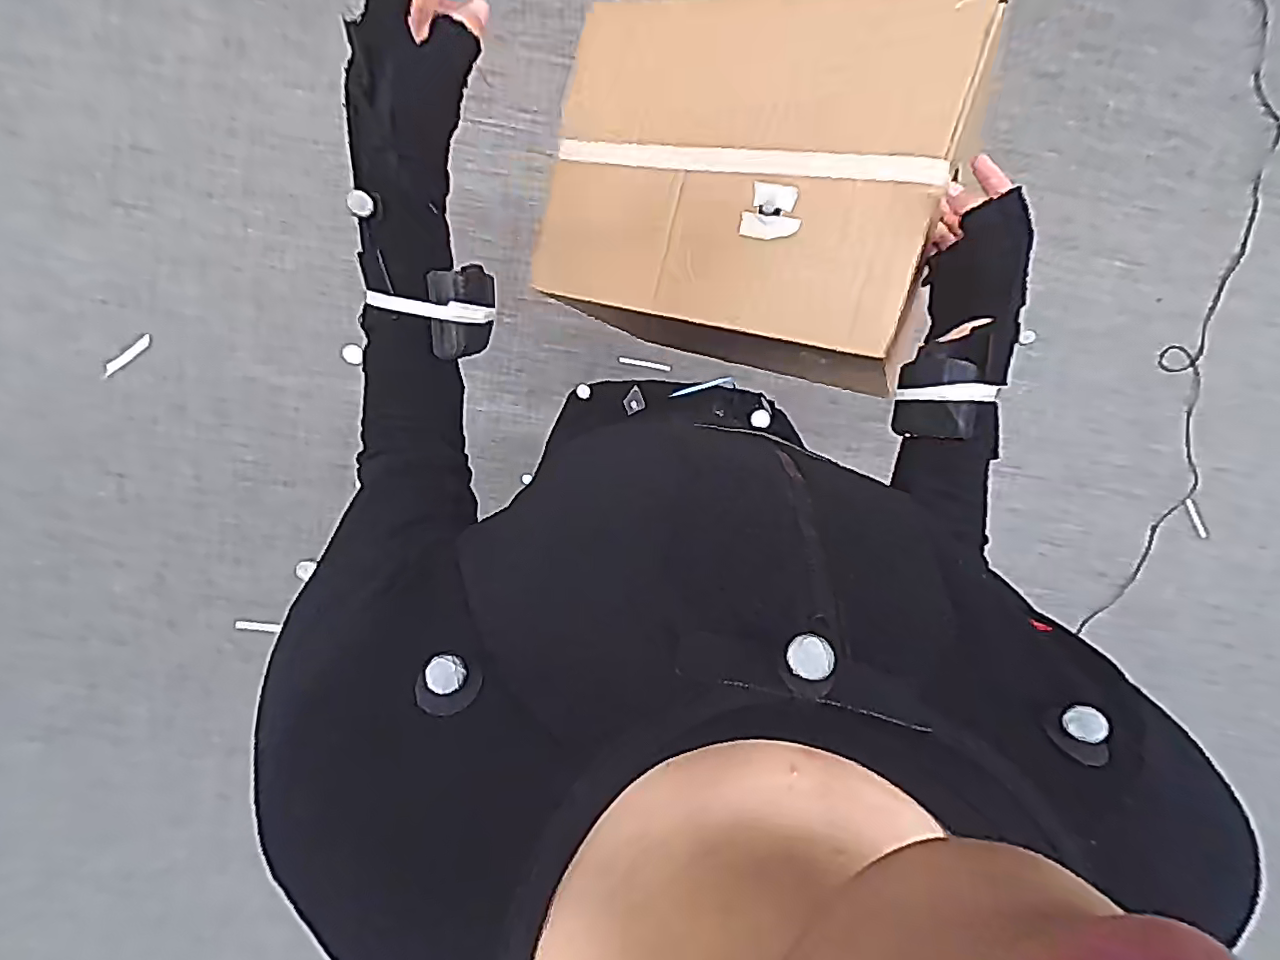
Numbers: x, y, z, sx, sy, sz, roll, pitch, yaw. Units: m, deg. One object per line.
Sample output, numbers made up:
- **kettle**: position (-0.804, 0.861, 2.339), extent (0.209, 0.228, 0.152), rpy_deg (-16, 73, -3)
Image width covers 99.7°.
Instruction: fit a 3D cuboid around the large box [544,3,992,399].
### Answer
- **large box**: position (0.154, -0.315, 0.692), extent (0.408, 0.320, 0.320), rpy_deg (21, 101, 26)
